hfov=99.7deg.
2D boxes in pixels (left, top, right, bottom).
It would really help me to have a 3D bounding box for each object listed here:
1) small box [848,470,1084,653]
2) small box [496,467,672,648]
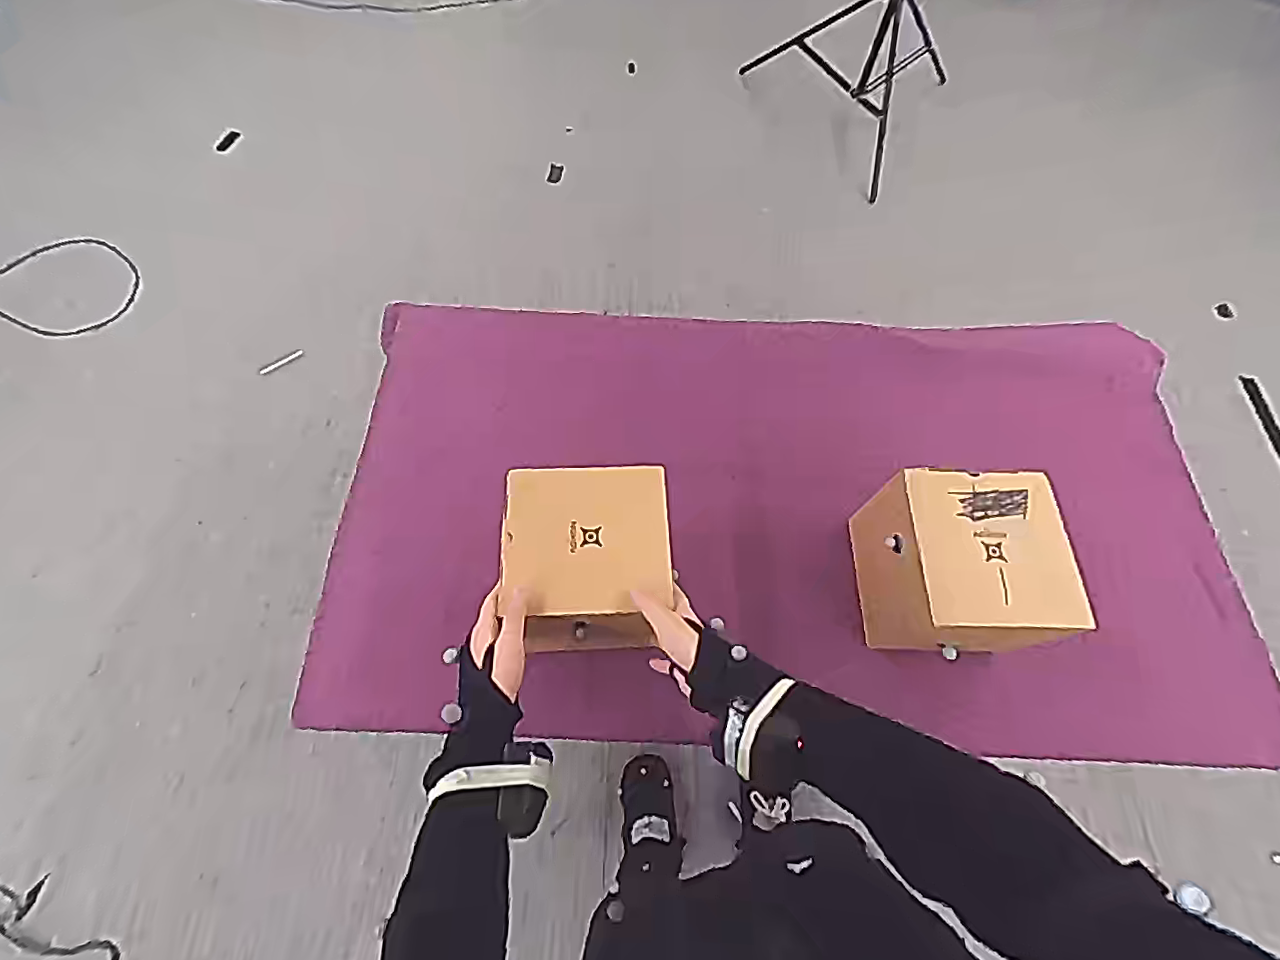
[{"bbox_3d":[0.366,0.104,0.650,0.168,0.176,0.179,2,66,0],"label":"small box"},{"bbox_3d":[-0.061,0.097,0.637,0.179,0.176,0.168,-2,62,-2],"label":"small box"}]
